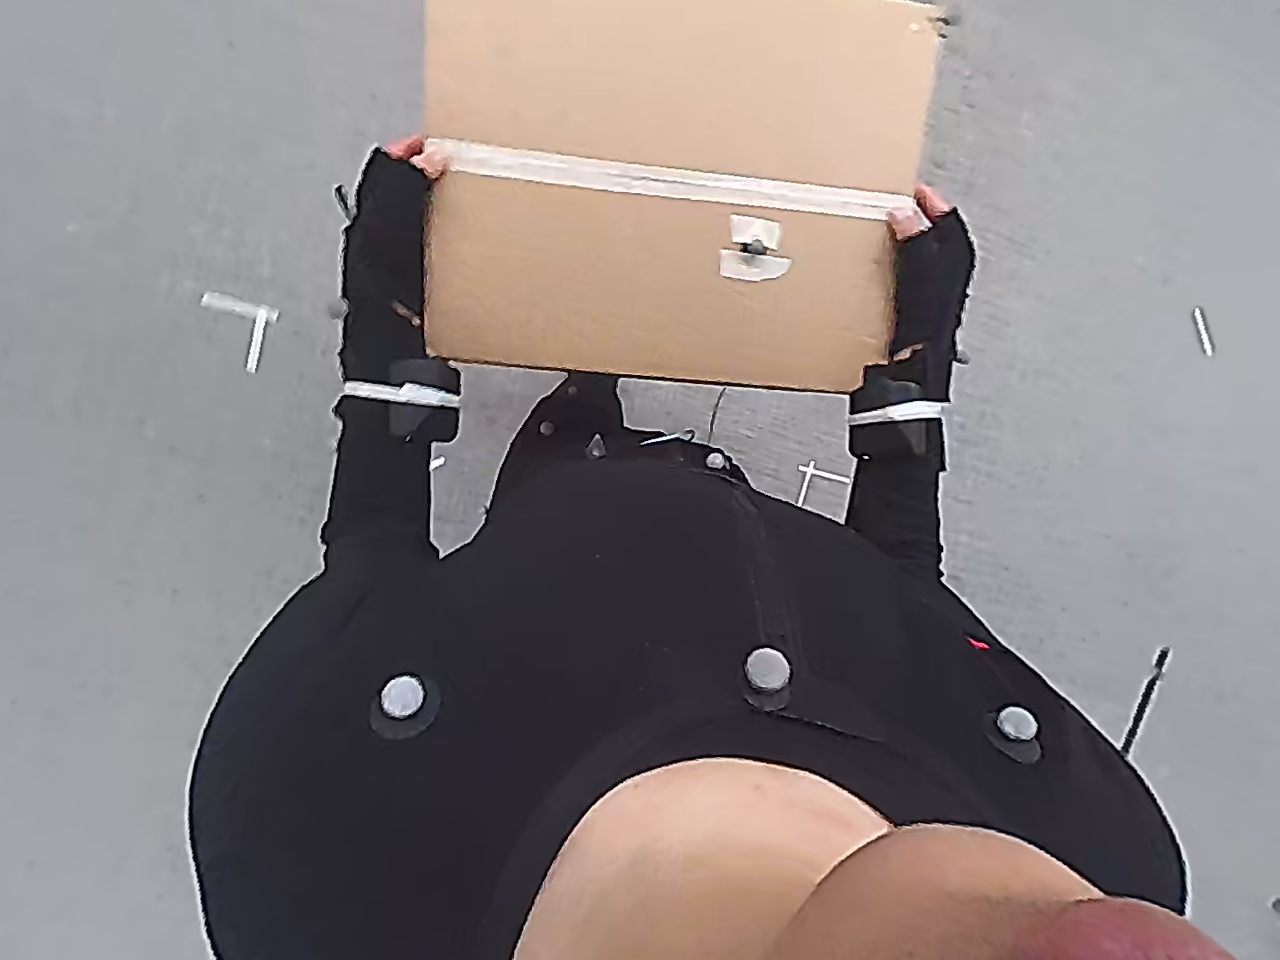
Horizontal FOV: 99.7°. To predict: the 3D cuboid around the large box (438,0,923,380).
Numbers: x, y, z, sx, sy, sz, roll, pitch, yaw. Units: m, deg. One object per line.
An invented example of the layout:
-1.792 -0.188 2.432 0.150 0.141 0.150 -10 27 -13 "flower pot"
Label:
0.015 -0.281 0.604 0.408 0.320 0.320 3 102 -8 "large box"
